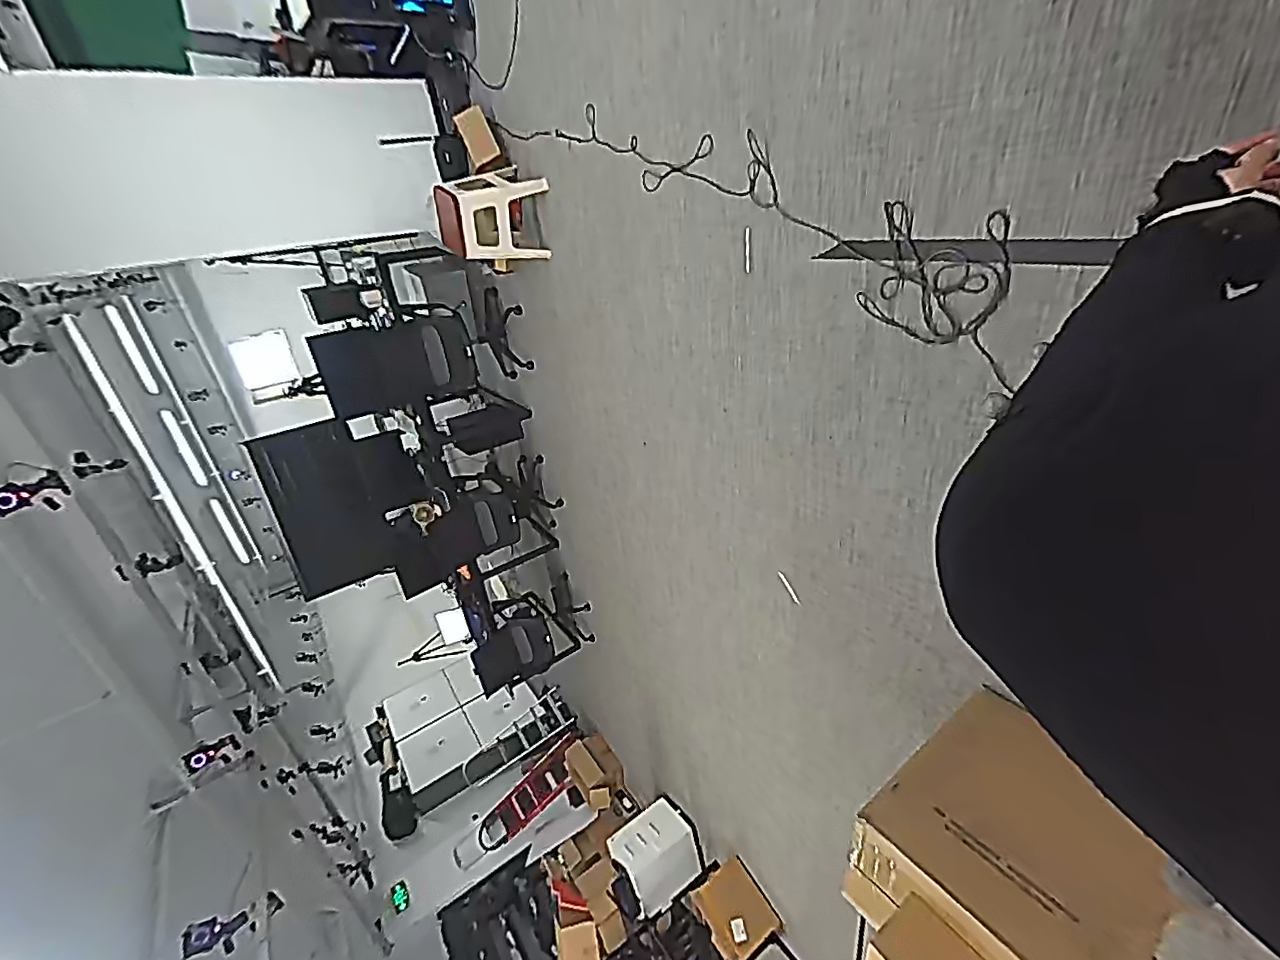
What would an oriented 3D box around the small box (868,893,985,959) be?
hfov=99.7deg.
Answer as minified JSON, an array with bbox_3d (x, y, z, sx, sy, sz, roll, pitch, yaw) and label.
[{"bbox_3d":[0.639,1.087,1.206,0.179,0.176,0.168,31,135,49],"label":"small box"}]
